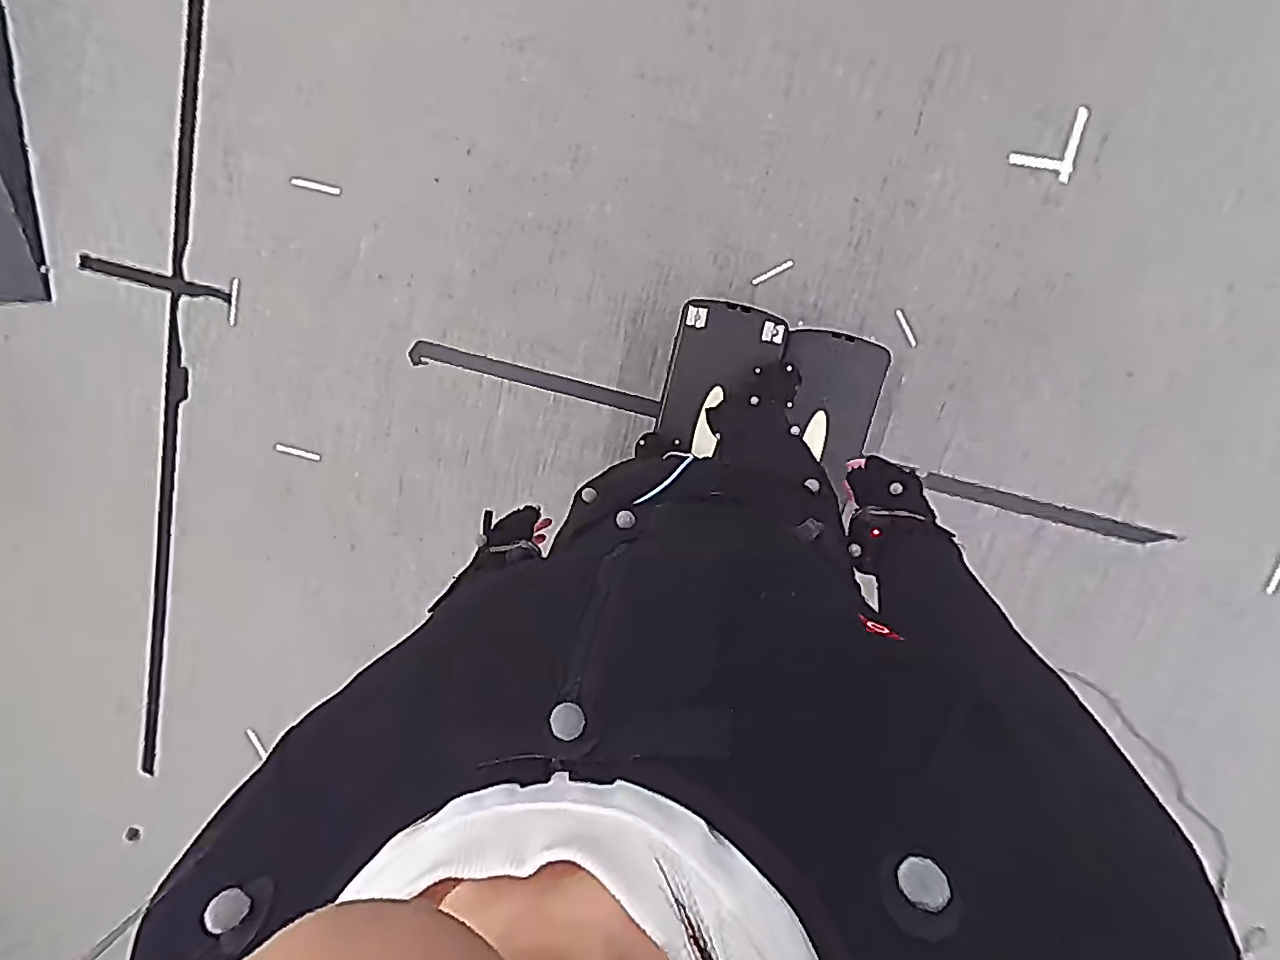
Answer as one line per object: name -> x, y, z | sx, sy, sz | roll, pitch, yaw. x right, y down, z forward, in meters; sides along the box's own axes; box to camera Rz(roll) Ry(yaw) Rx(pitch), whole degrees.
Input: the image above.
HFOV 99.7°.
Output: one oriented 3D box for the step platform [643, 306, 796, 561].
step platform -> 0.209, -0.122, 1.498 | 0.286, 0.204, 0.684 | 13, 99, 3
